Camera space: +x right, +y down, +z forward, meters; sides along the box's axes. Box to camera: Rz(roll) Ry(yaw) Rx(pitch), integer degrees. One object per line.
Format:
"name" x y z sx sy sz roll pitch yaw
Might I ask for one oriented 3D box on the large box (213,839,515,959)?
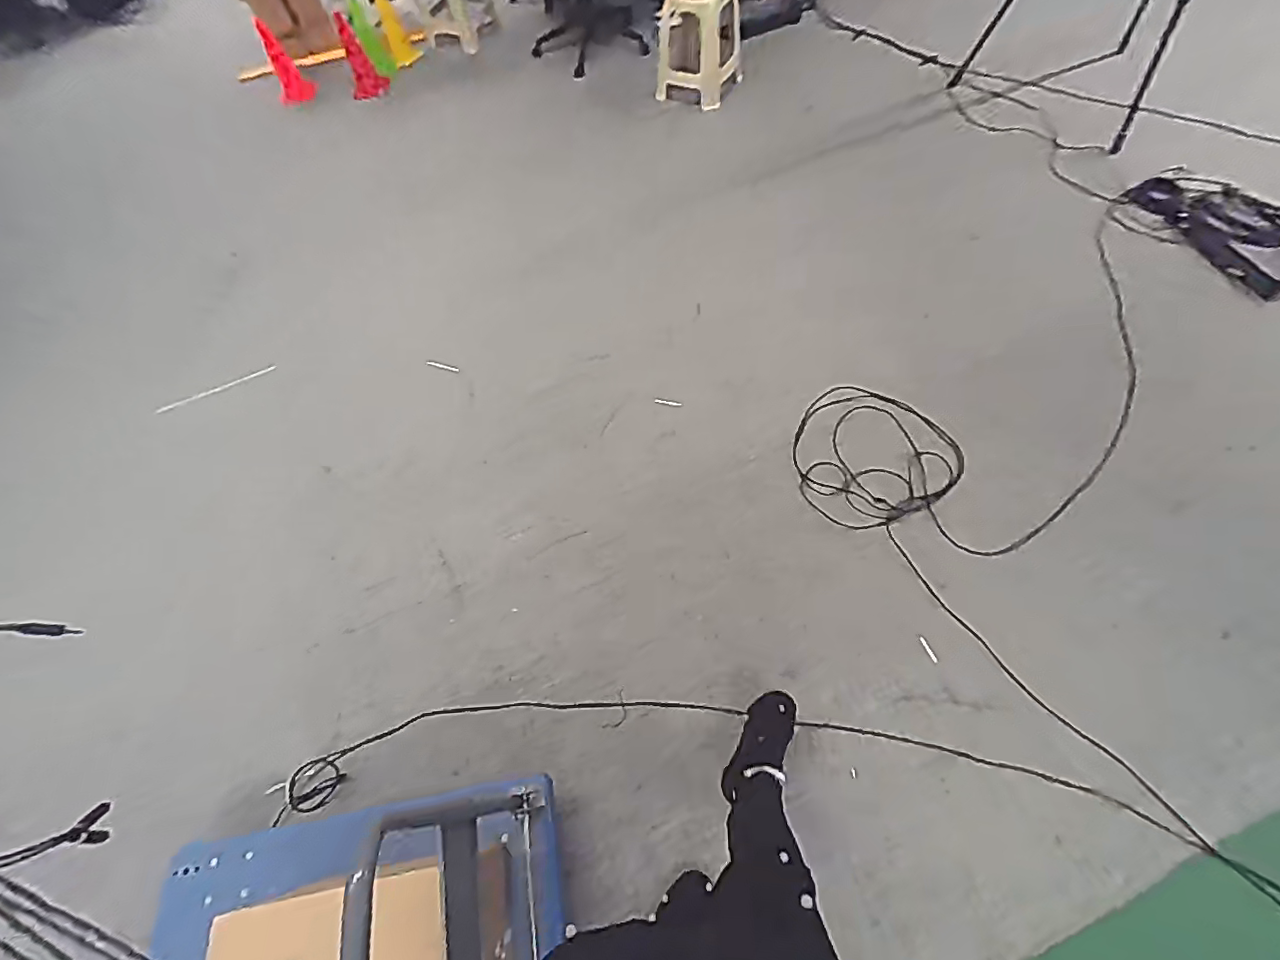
"large box" -0.467 0.885 0.969 0.408 0.320 0.320 -13 62 0
